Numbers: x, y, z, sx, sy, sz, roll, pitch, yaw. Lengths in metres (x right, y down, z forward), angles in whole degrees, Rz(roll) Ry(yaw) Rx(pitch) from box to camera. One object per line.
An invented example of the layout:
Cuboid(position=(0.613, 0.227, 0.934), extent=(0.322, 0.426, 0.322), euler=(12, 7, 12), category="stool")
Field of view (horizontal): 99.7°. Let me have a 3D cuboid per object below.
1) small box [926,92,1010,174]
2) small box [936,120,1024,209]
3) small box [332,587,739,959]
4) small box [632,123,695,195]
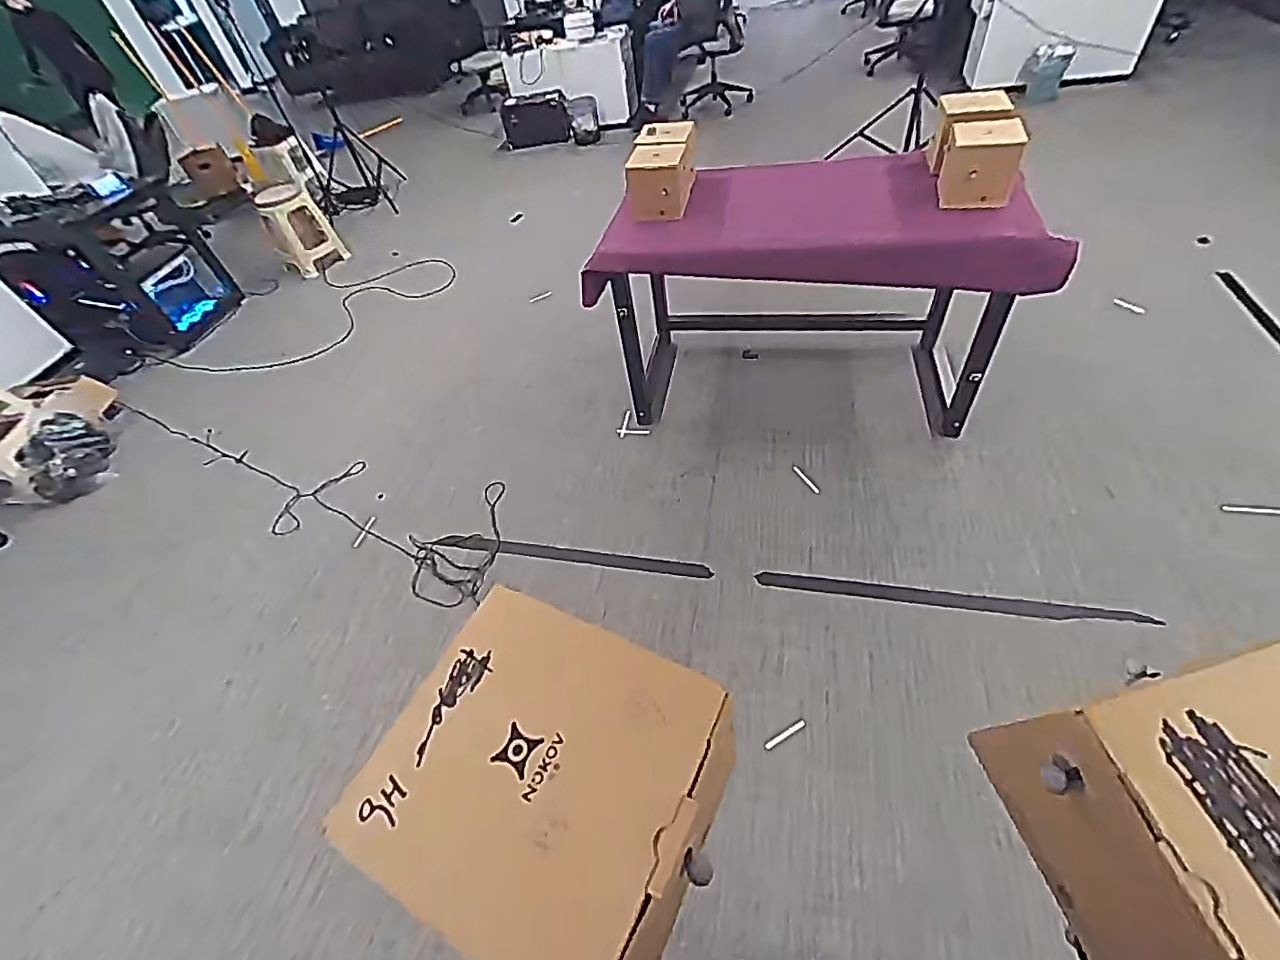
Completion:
Cuboid(position=(0.984, -1.047, 1.642), extent=(0.179, 0.176, 0.168), euler=(5, 52, 14), category="small box")
Cuboid(position=(0.939, -0.874, 1.508), extent=(0.168, 0.176, 0.179), euler=(7, 50, 18), category="small box")
Cuboid(position=(-0.045, 0.205, 0.362), extent=(0.179, 0.176, 0.168), euler=(18, 56, 23), category="small box")
Cuboid(position=(0.087, -1.094, 1.850), extent=(0.179, 0.176, 0.168), euler=(6, 53, 14), category="small box")
